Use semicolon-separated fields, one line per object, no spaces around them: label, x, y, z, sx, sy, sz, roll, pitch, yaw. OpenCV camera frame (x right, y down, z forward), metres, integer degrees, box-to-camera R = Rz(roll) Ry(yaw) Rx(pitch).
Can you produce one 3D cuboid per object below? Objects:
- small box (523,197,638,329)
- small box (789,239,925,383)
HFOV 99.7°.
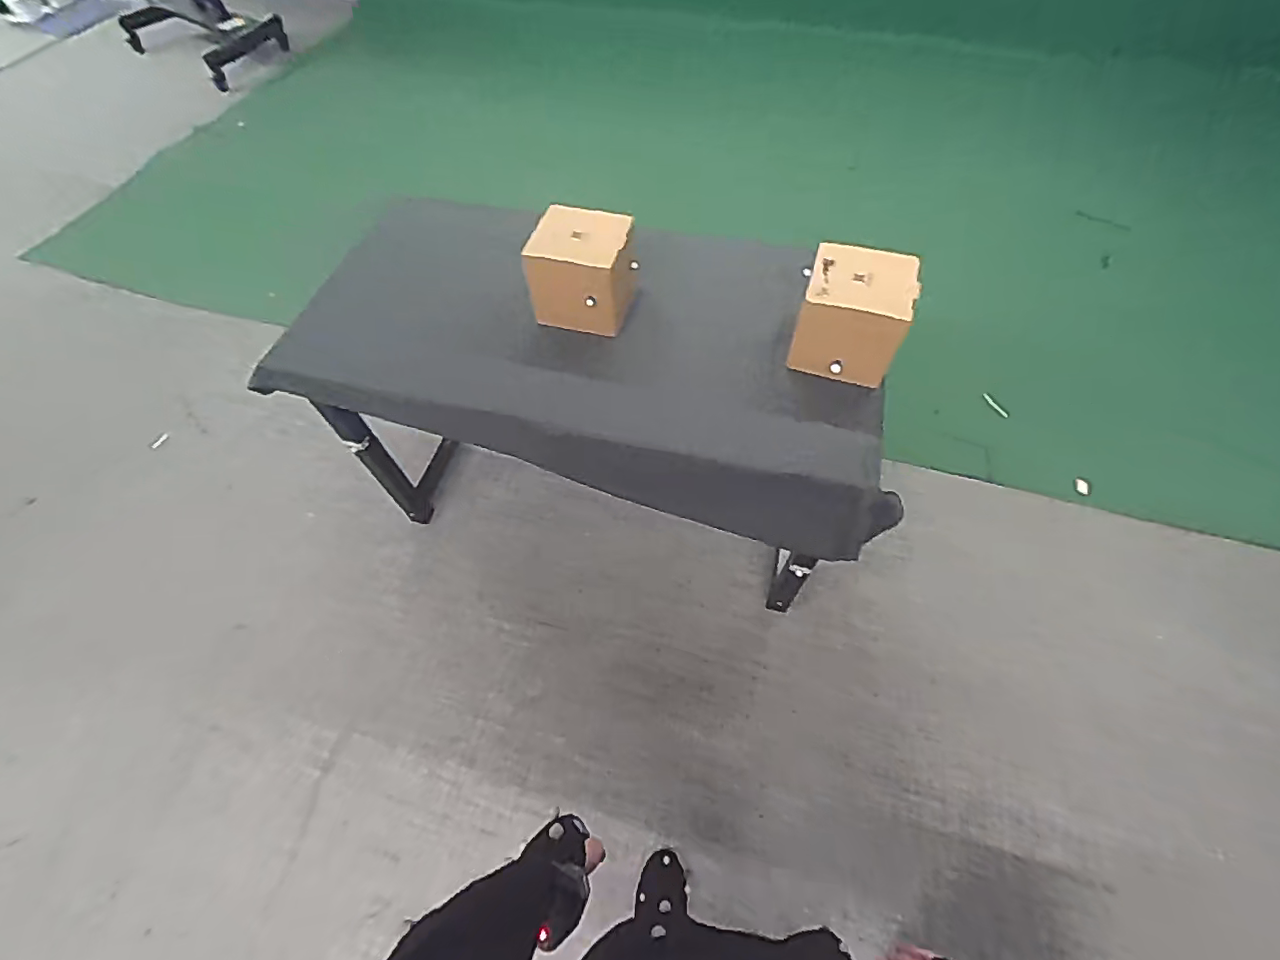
small box;-0.106;-0.424;1.071;0.179;0.176;0.168;12;59;9
small box;0.392;-0.304;0.993;0.179;0.176;0.168;17;61;10
